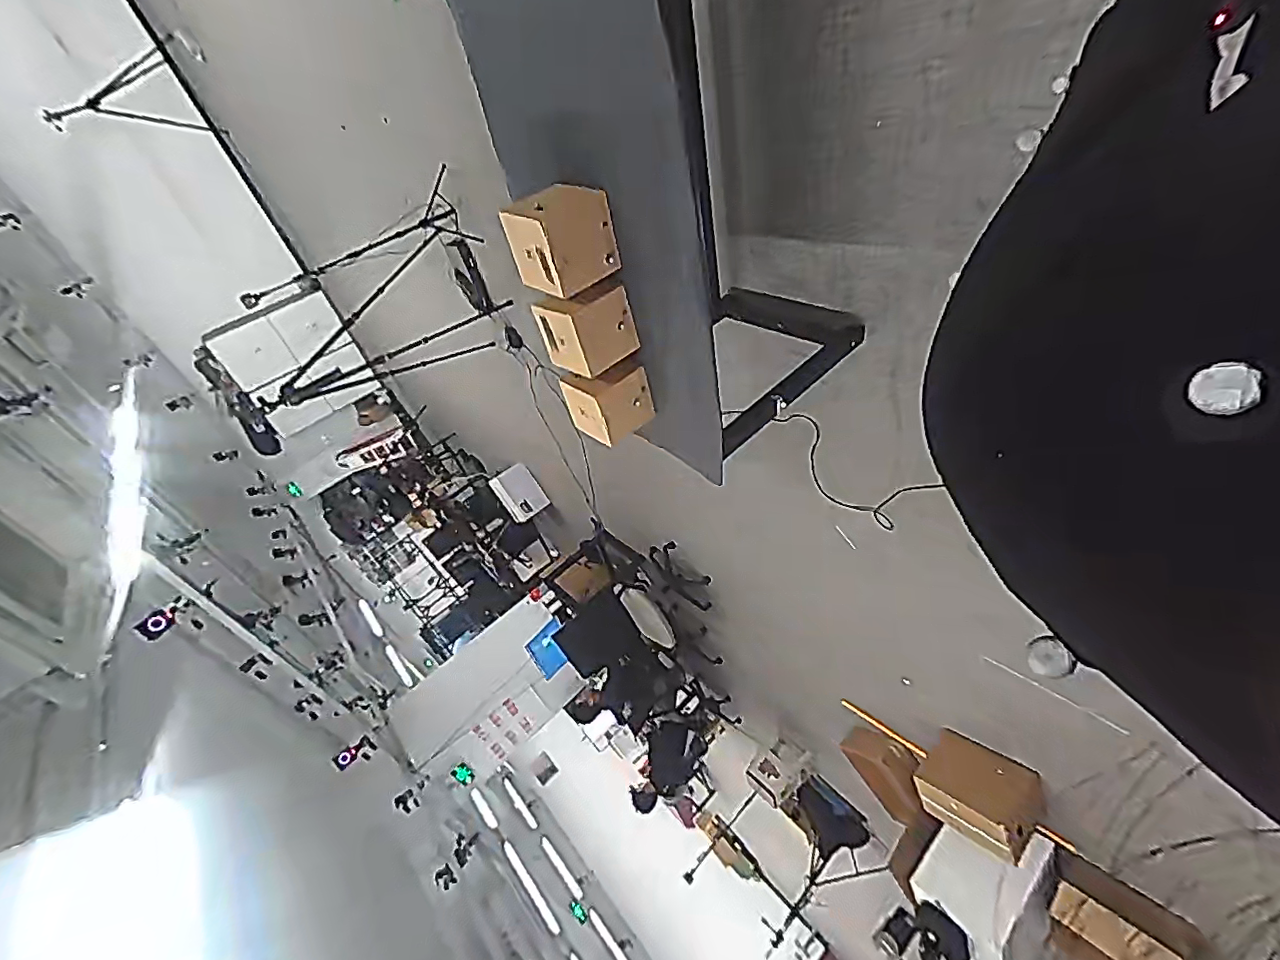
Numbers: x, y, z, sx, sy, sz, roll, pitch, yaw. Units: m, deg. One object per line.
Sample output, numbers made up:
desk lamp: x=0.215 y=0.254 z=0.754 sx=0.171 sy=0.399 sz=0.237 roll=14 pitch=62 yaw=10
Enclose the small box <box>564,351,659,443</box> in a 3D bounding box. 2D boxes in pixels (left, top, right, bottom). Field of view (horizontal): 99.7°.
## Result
small box: x=-0.074 y=-0.234 z=1.479 sx=0.179 sy=0.176 sz=0.168 roll=31 pitch=150 yaw=41
